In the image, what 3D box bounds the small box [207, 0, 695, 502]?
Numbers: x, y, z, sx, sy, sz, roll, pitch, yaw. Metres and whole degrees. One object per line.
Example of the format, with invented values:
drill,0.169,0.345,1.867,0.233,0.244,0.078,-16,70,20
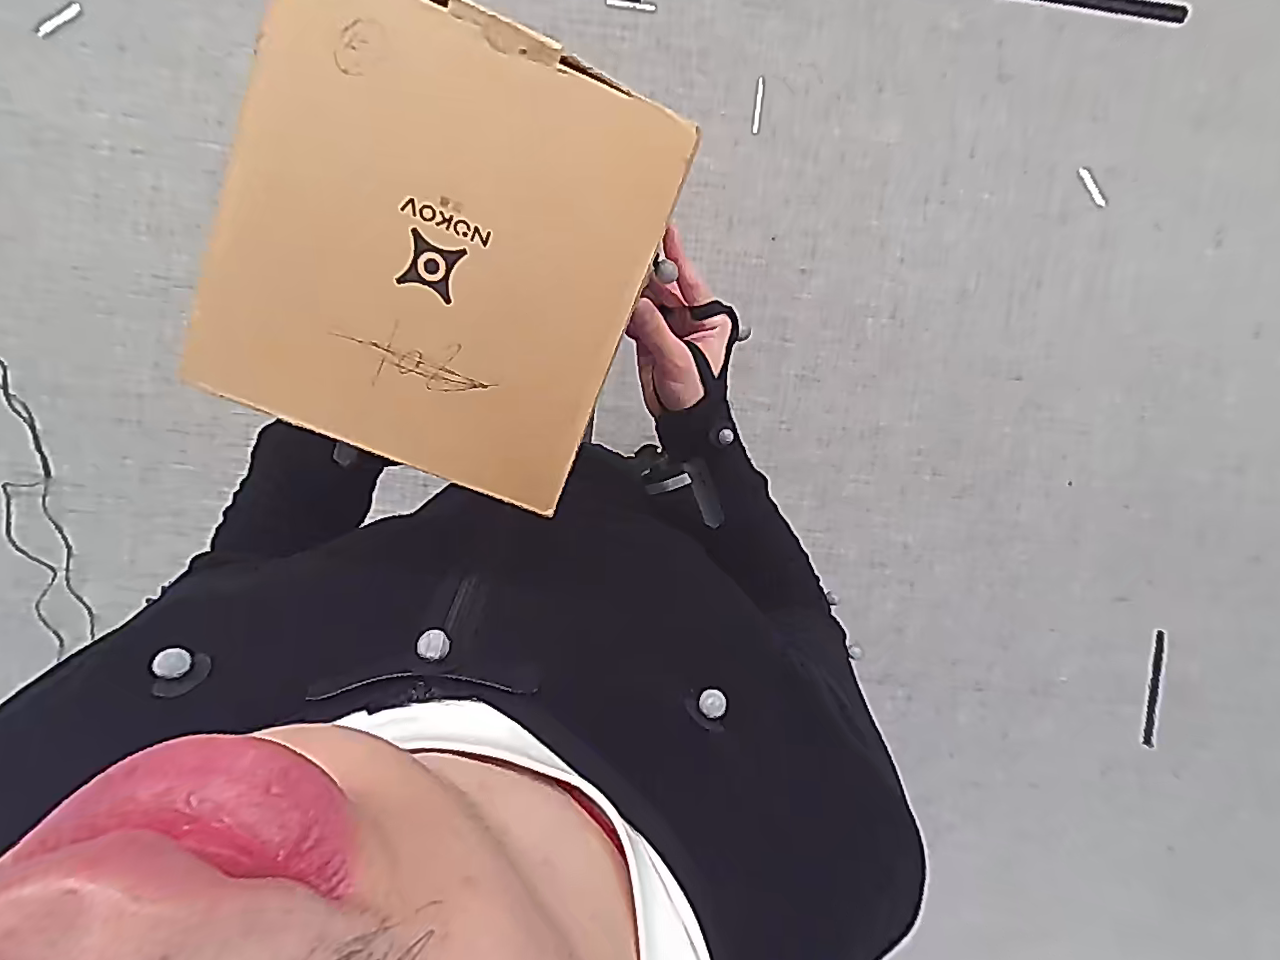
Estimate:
small box,-0.088,-0.114,0.310,0.168,0.176,0.179,21,102,-7
